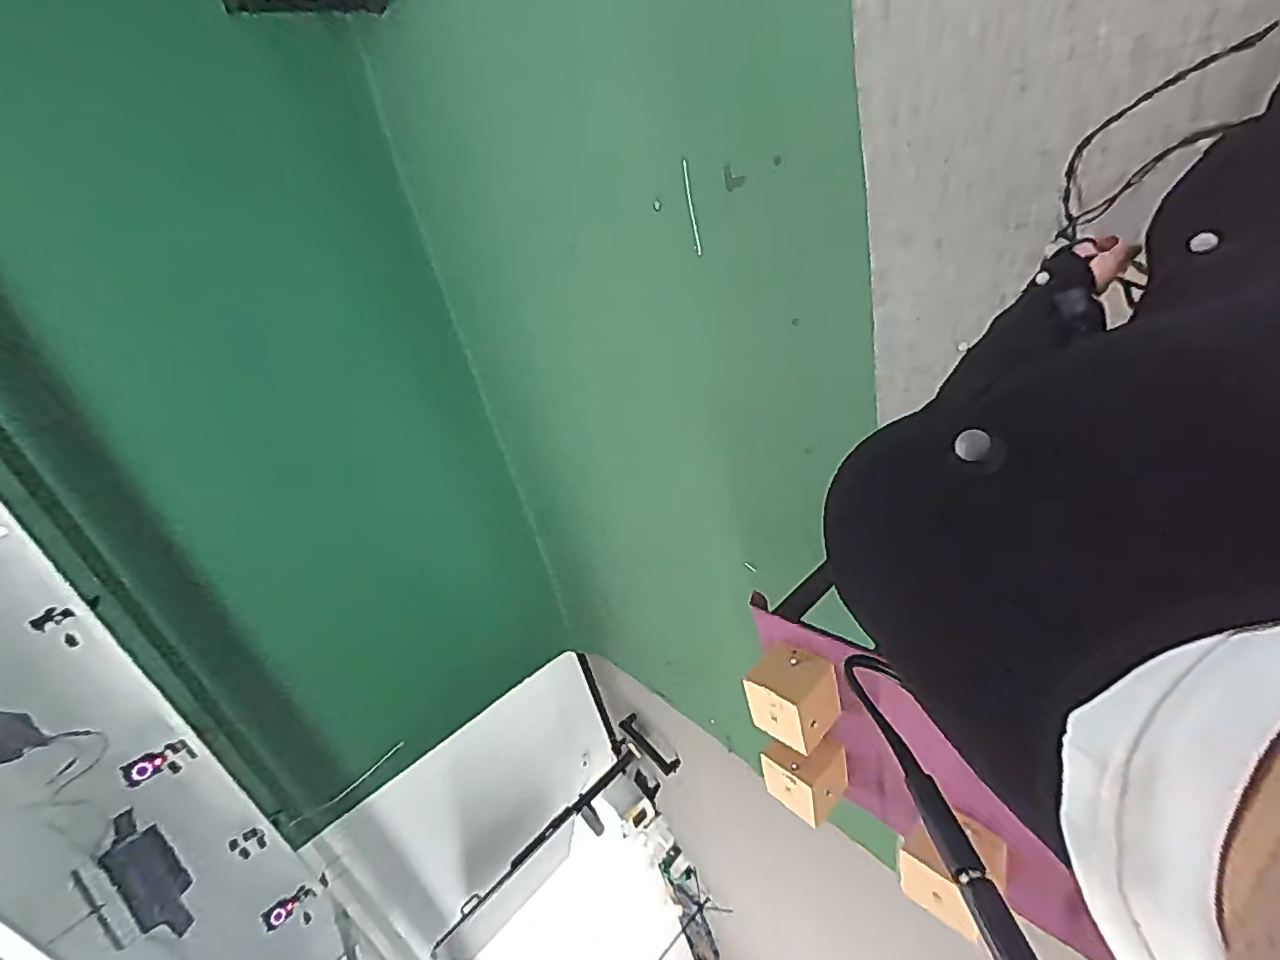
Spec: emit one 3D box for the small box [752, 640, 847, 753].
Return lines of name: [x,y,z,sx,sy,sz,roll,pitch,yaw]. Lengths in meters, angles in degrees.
small box: [0.420,0.557,1.409,0.168,0.176,0.179,13,126,49]

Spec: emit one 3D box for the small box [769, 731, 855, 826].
small box: [0.492,0.817,1.534,0.168,0.176,0.179,16,129,48]

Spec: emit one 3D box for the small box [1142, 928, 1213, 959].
small box: [0.976,0.952,0.944,0.168,0.176,0.179,14,128,50]

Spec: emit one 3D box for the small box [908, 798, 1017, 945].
small box: [0.739,0.887,1.239,0.168,0.176,0.179,15,127,49]
